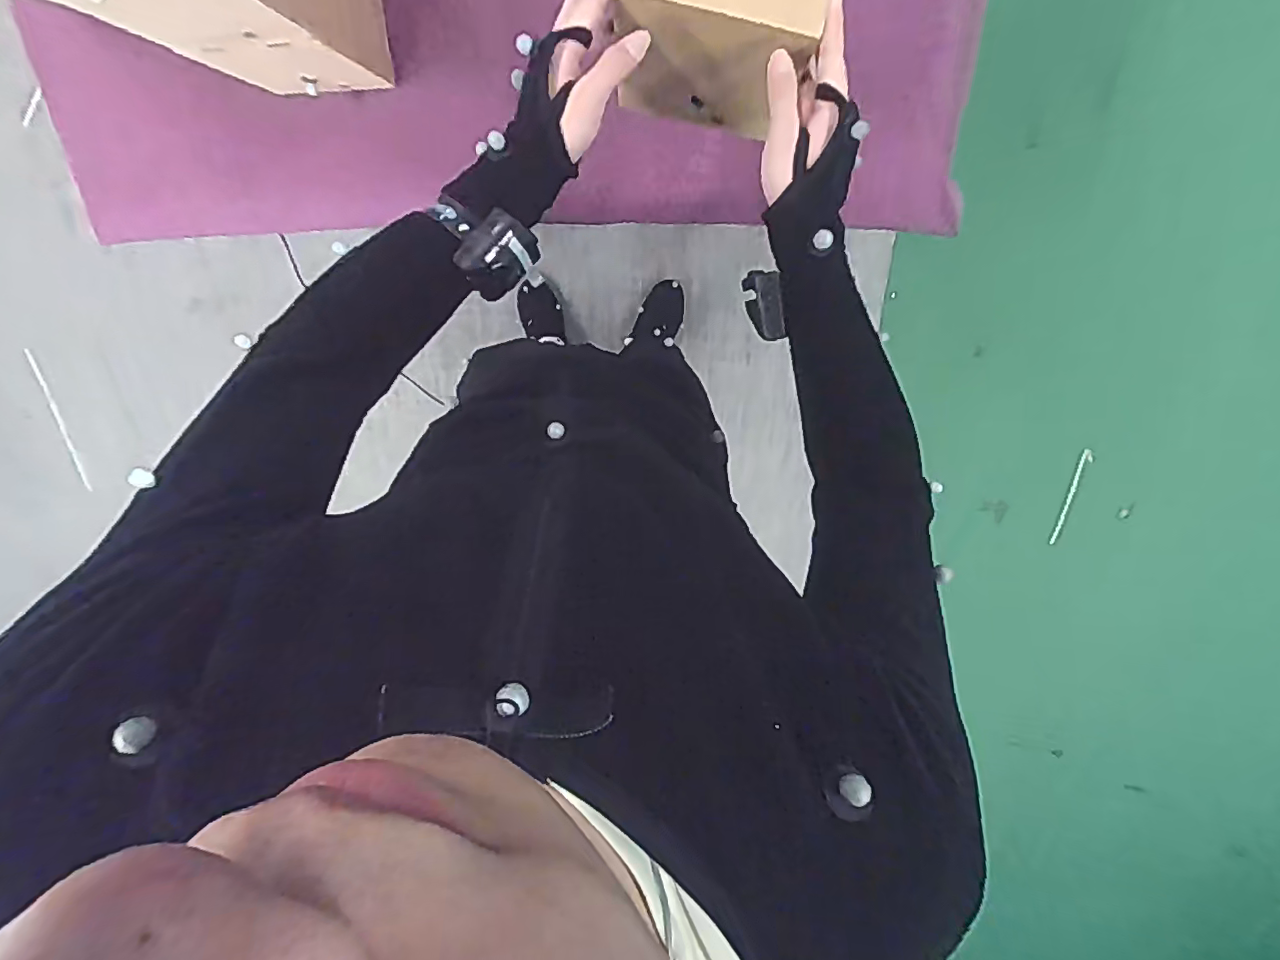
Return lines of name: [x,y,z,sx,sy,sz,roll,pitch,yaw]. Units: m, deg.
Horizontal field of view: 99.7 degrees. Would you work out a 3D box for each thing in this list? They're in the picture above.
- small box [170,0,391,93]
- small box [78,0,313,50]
small box: [-0.406,-0.559,0.601,0.168,0.176,0.179,0,113,4]
small box: [-0.415,-0.497,0.449,0.168,0.176,0.179,-1,112,4]
